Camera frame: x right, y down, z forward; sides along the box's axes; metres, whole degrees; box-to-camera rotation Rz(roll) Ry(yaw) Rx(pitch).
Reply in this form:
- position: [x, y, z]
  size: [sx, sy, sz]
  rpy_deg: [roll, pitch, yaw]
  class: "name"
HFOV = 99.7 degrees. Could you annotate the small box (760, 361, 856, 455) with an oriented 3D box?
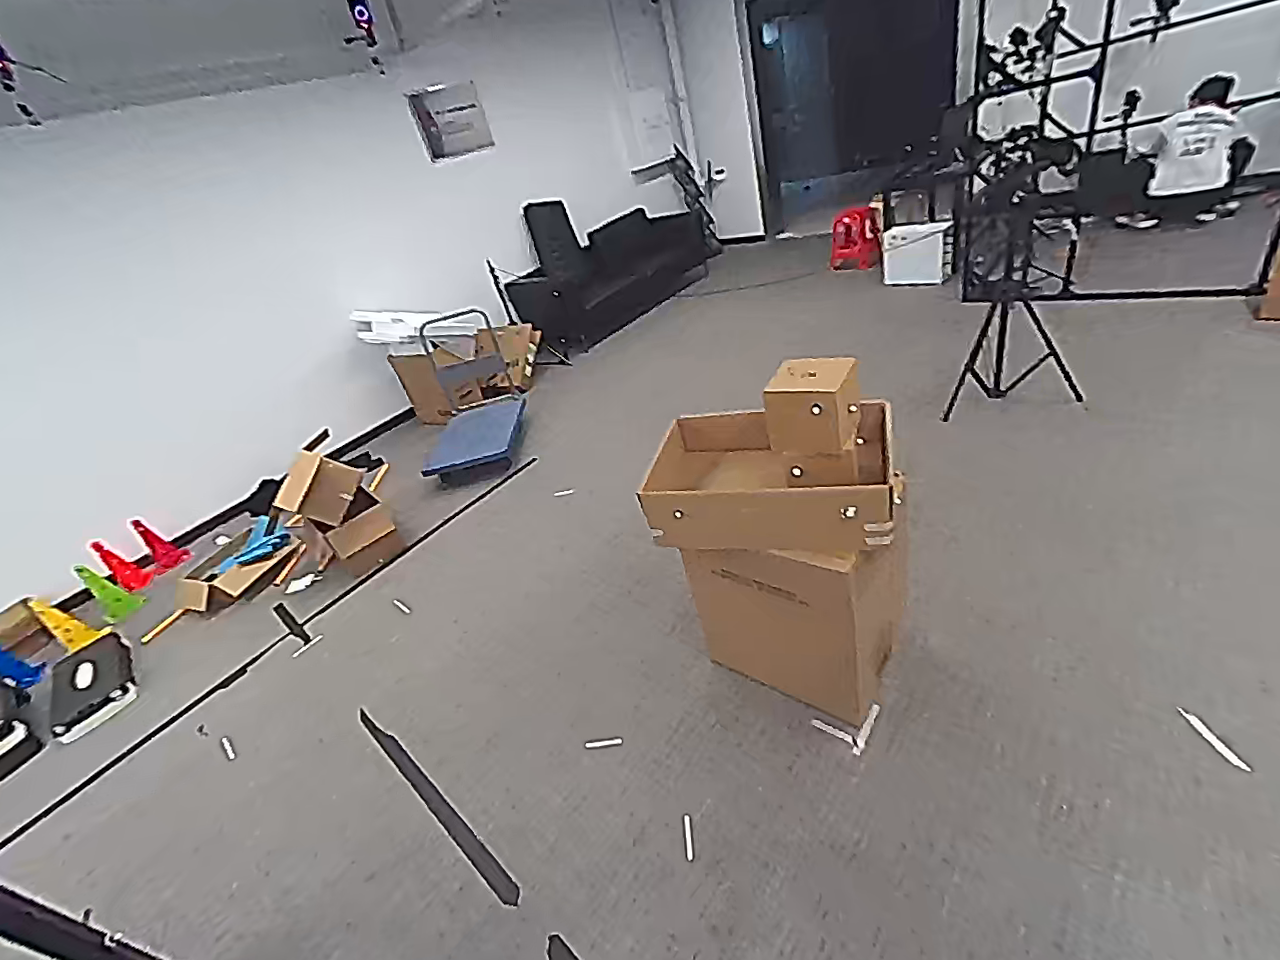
- position: [0.414, -0.175, 1.311]
  size: [0.179, 0.176, 0.168]
  rpy_deg: [6, 39, 35]
  class: "small box"
